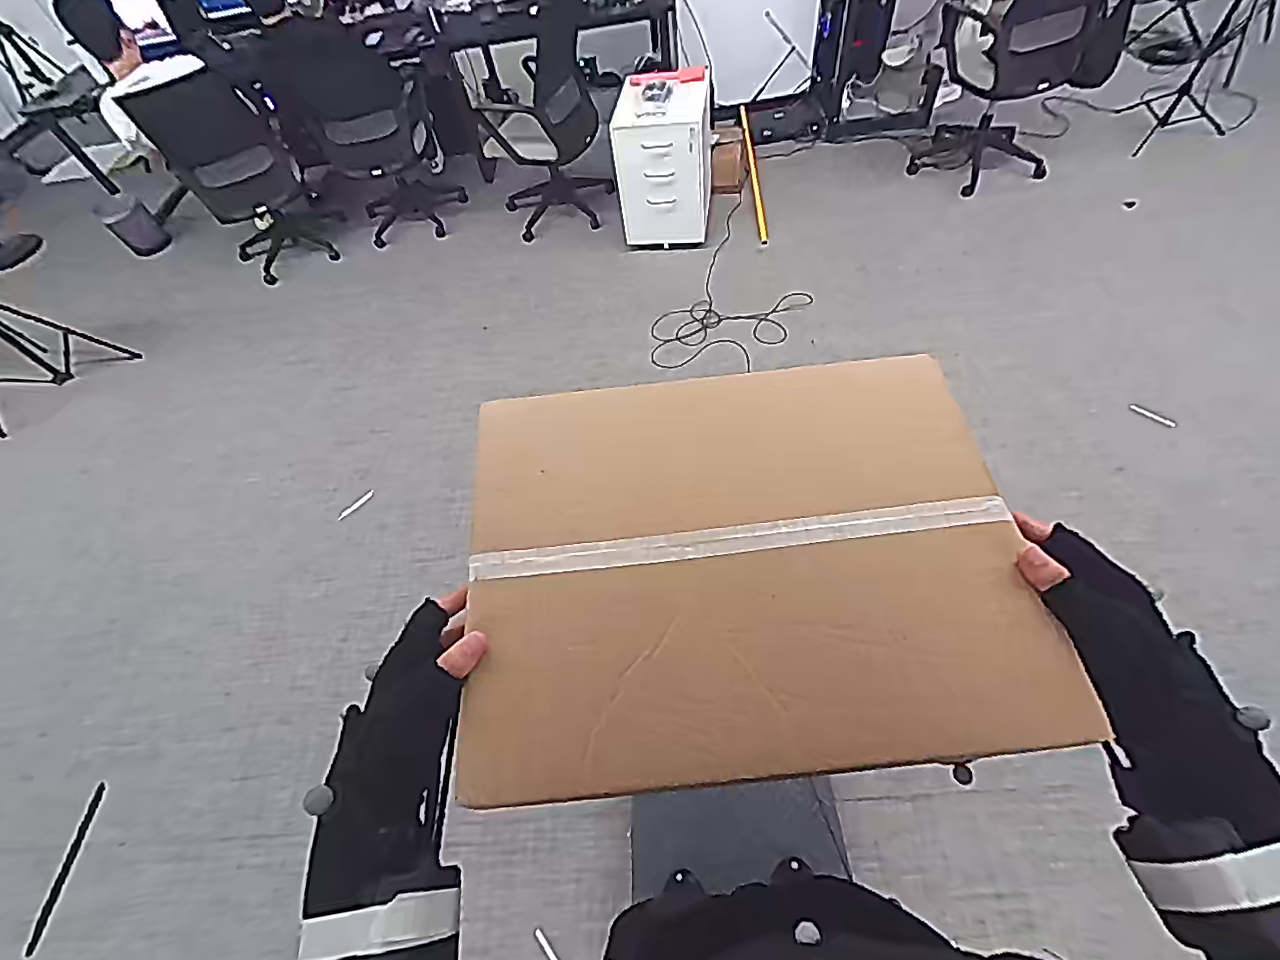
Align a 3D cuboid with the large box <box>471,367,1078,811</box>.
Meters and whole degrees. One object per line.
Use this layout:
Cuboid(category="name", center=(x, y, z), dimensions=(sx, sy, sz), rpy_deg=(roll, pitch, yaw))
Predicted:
Cuboid(category="large box", center=(0.082, 0.123, 0.547), dimensions=(0.408, 0.320, 0.320), rpy_deg=(-6, 61, 0))
